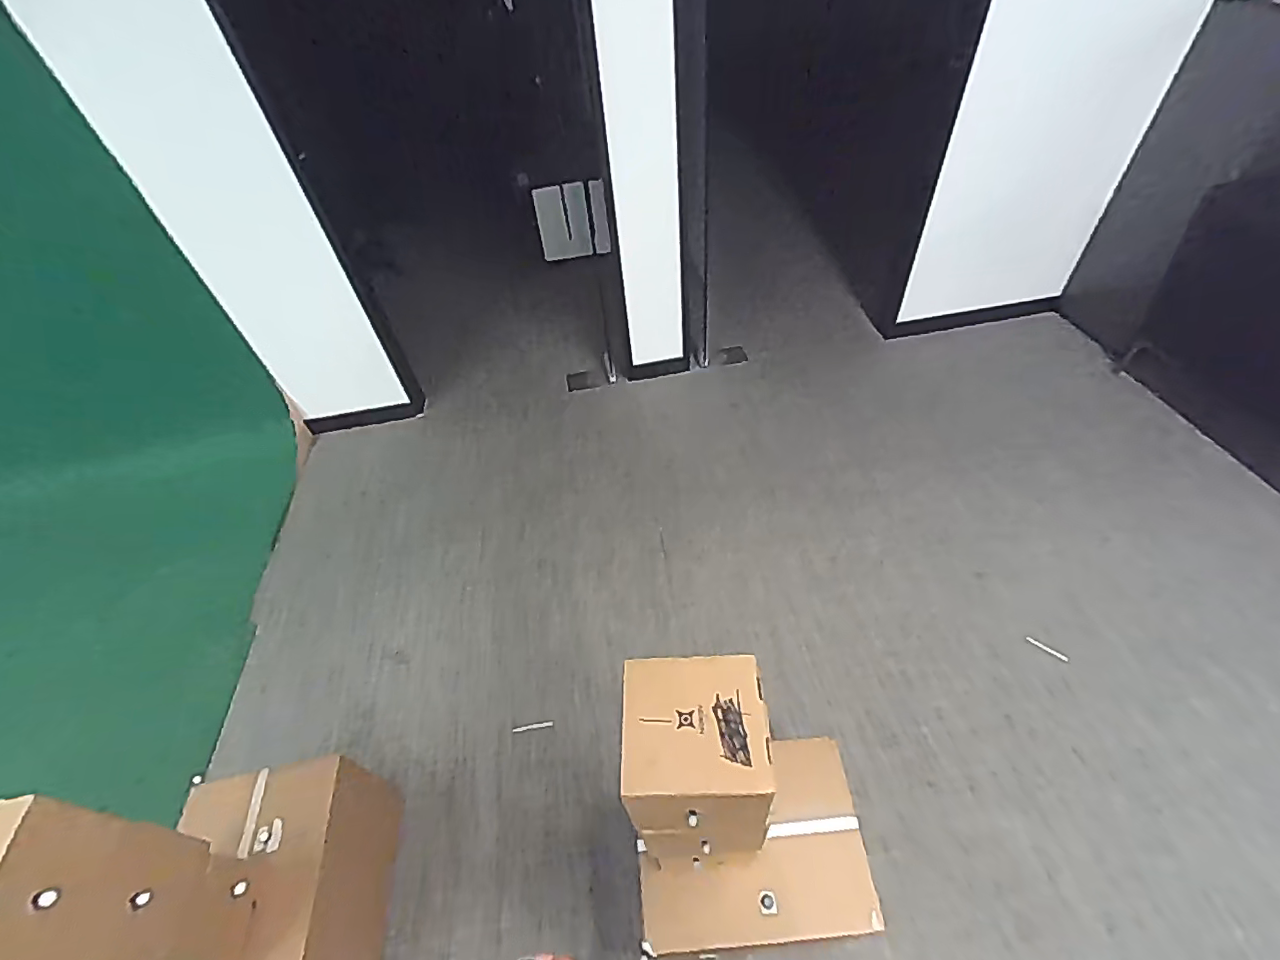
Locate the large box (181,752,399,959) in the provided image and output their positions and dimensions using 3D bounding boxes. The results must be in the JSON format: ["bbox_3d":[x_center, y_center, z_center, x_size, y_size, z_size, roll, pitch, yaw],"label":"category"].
[{"bbox_3d":[-0.738,0.854,1.127,0.320,0.320,0.408,-10,46,-3],"label":"large box"}]

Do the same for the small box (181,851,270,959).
[{"bbox_3d":[-0.764,0.743,0.899,0.179,0.176,0.168,-12,47,-3],"label":"small box"}]

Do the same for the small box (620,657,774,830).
[{"bbox_3d":[0.072,0.350,0.717,0.179,0.176,0.168,-4,46,5],"label":"small box"}]

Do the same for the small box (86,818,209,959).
[{"bbox_3d":[-0.779,0.627,0.784,0.168,0.176,0.179,-14,46,-7],"label":"small box"}]

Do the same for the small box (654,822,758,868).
[{"bbox_3d":[0.109,0.571,0.959,0.168,0.176,0.179,-5,46,1],"label":"small box"}]

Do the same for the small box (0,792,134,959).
[{"bbox_3d":[-0.791,0.516,0.663,0.168,0.176,0.179,-13,48,-5],"label":"small box"}]
